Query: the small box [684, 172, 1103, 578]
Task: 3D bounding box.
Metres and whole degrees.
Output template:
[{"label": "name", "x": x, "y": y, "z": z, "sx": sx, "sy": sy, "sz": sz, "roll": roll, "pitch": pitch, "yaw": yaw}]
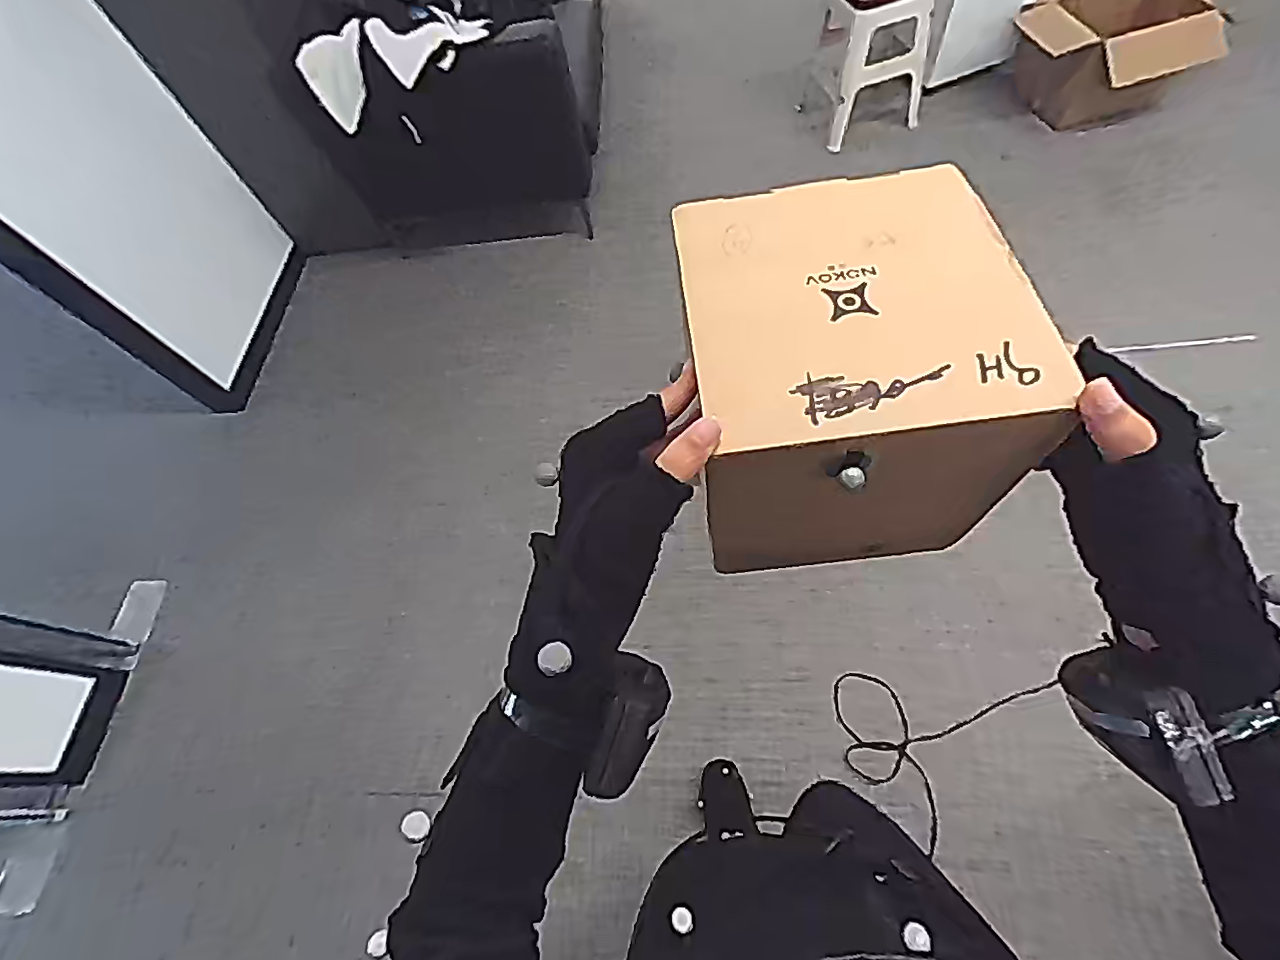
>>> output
[{"label": "small box", "x": 0.120, "y": -0.054, "z": 0.344, "sx": 0.168, "sy": 0.176, "sz": 0.179, "roll": -8, "pitch": 60, "yaw": 6}]
